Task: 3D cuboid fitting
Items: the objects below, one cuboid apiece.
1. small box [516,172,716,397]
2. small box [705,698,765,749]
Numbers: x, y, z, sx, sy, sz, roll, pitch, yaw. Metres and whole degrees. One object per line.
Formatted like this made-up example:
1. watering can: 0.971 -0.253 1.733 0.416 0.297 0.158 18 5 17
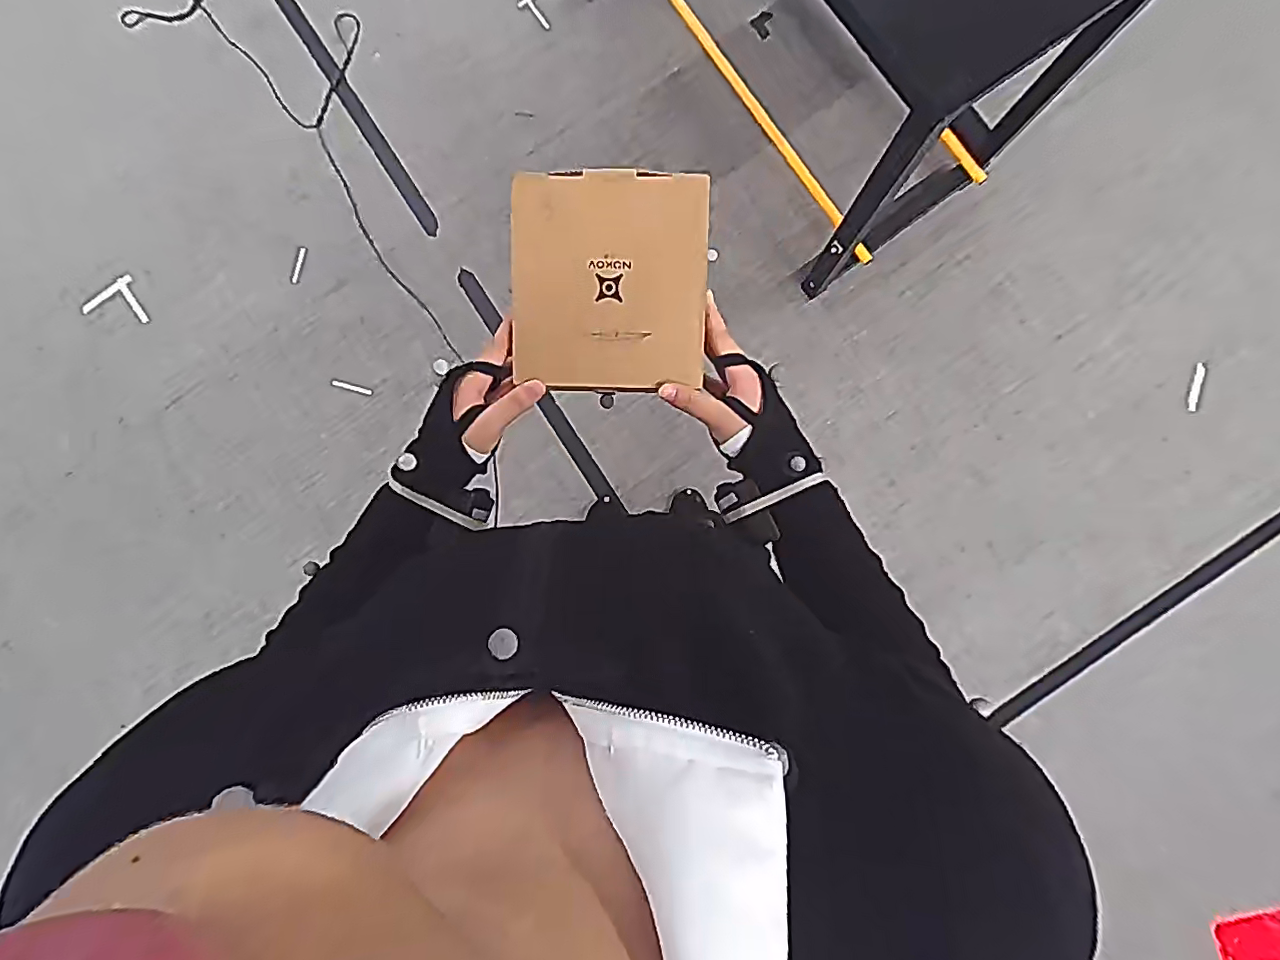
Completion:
1. small box: -0.021 -0.174 0.533 0.168 0.176 0.179 2 98 2
2. small box: 0.279 0.685 1.386 0.168 0.176 0.179 -33 86 0
